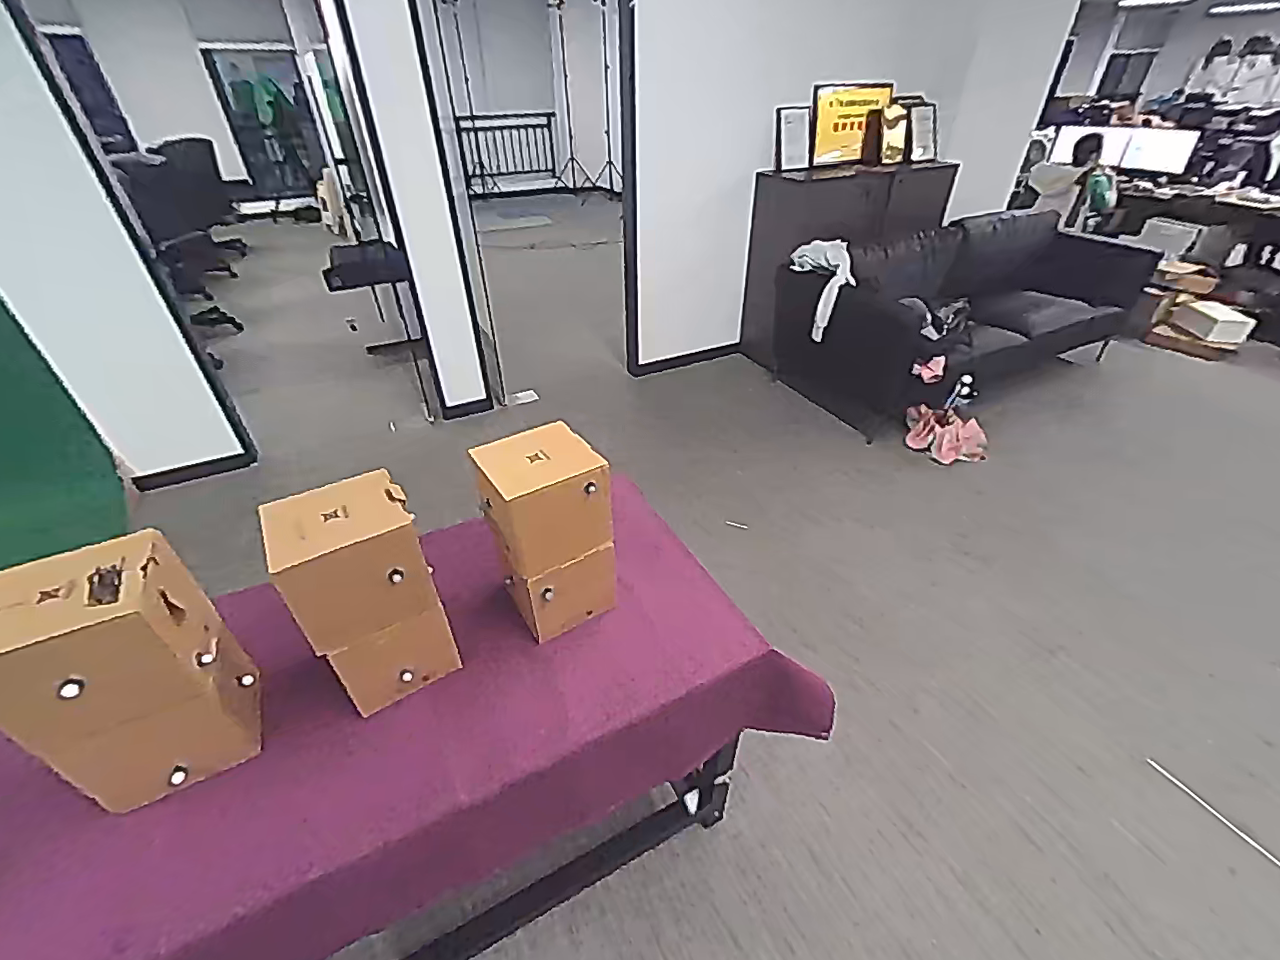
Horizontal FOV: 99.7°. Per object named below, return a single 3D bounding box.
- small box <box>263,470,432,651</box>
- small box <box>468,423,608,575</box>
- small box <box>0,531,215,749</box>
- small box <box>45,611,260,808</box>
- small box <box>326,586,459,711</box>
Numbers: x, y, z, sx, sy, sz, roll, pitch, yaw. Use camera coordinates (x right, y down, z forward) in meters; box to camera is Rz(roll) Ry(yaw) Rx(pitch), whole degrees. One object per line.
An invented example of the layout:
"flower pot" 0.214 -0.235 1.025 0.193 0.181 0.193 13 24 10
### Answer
"small box" -0.427 0.116 0.808 0.179 0.176 0.168 -22 41 -25
"small box" -0.166 0.031 0.919 0.179 0.176 0.168 -22 42 -27
"small box" -0.686 0.201 0.695 0.179 0.176 0.168 -20 41 -22
"small box" -0.686 0.333 0.793 0.179 0.176 0.168 -19 40 -23
"small box" -0.425 0.244 0.909 0.168 0.176 0.179 -23 43 -26
